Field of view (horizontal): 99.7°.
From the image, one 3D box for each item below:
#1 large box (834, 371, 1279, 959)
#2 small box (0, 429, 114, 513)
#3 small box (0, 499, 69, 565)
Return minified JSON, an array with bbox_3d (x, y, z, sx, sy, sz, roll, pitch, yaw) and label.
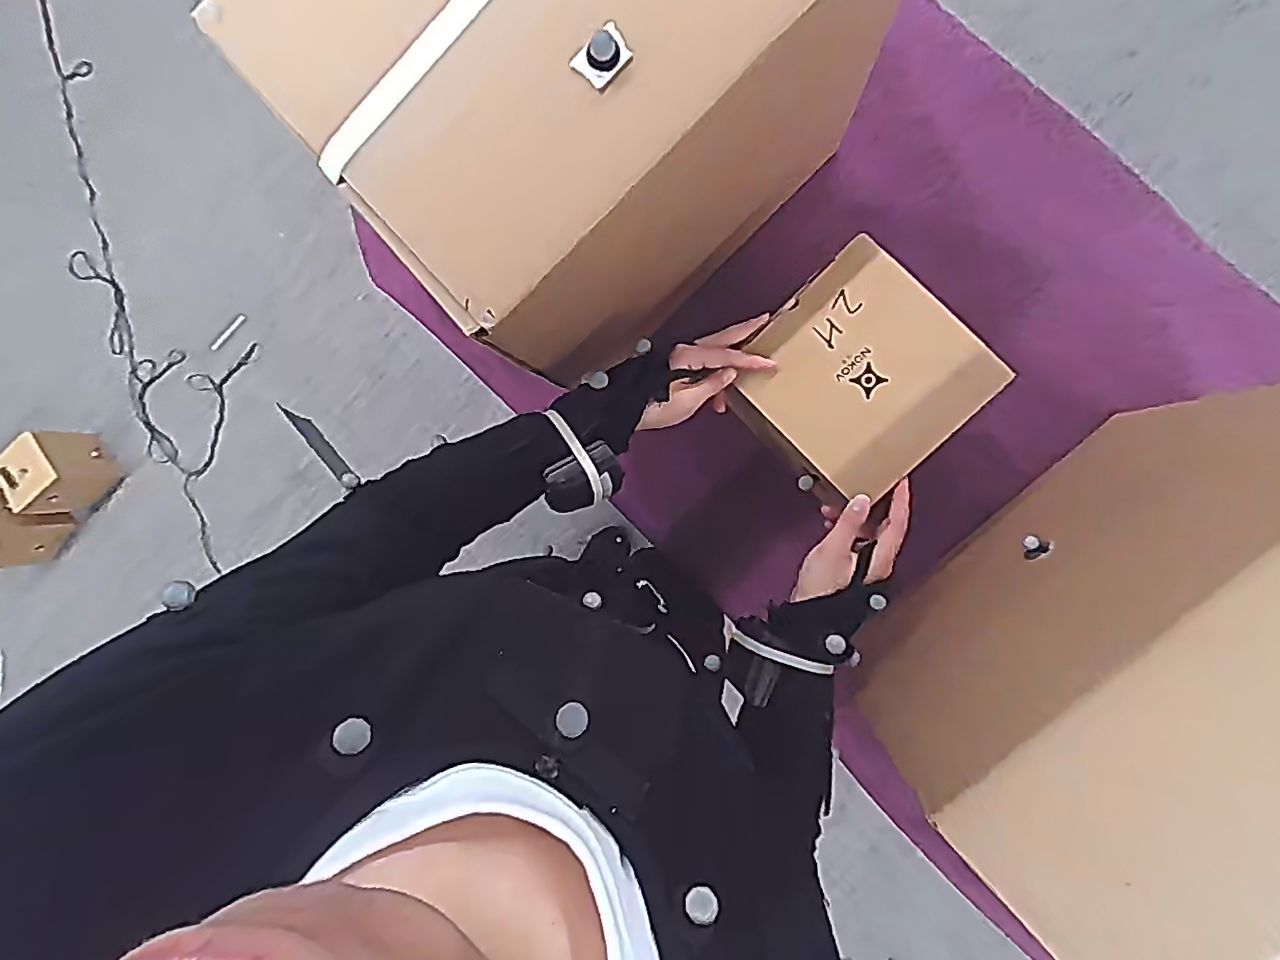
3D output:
[{"bbox_3d":[0.432,0.165,0.422,0.408,0.320,0.320,-43,85,5],"label":"large box"},{"bbox_3d":[-1.675,-0.022,1.540,0.179,0.176,0.168,-37,85,7],"label":"small box"},{"bbox_3d":[-1.845,0.136,1.570,0.179,0.176,0.168,41,96,6],"label":"small box"}]
